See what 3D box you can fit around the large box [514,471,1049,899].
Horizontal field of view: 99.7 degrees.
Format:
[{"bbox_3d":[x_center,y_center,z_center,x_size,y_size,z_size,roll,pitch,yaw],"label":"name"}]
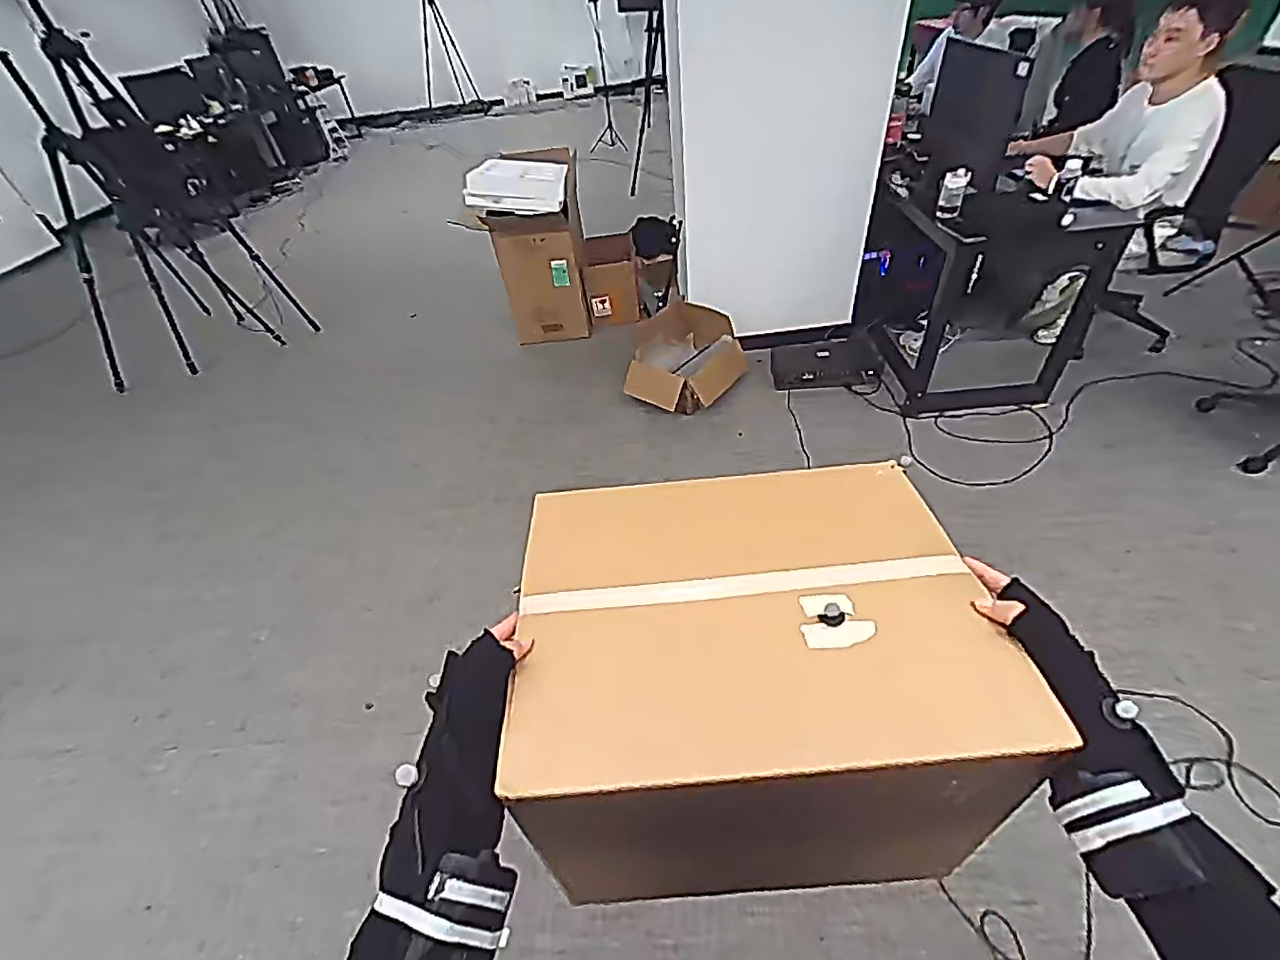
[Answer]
[{"bbox_3d":[0.105,0.220,0.600,0.408,0.320,0.320,-6,40,1],"label":"large box"}]
